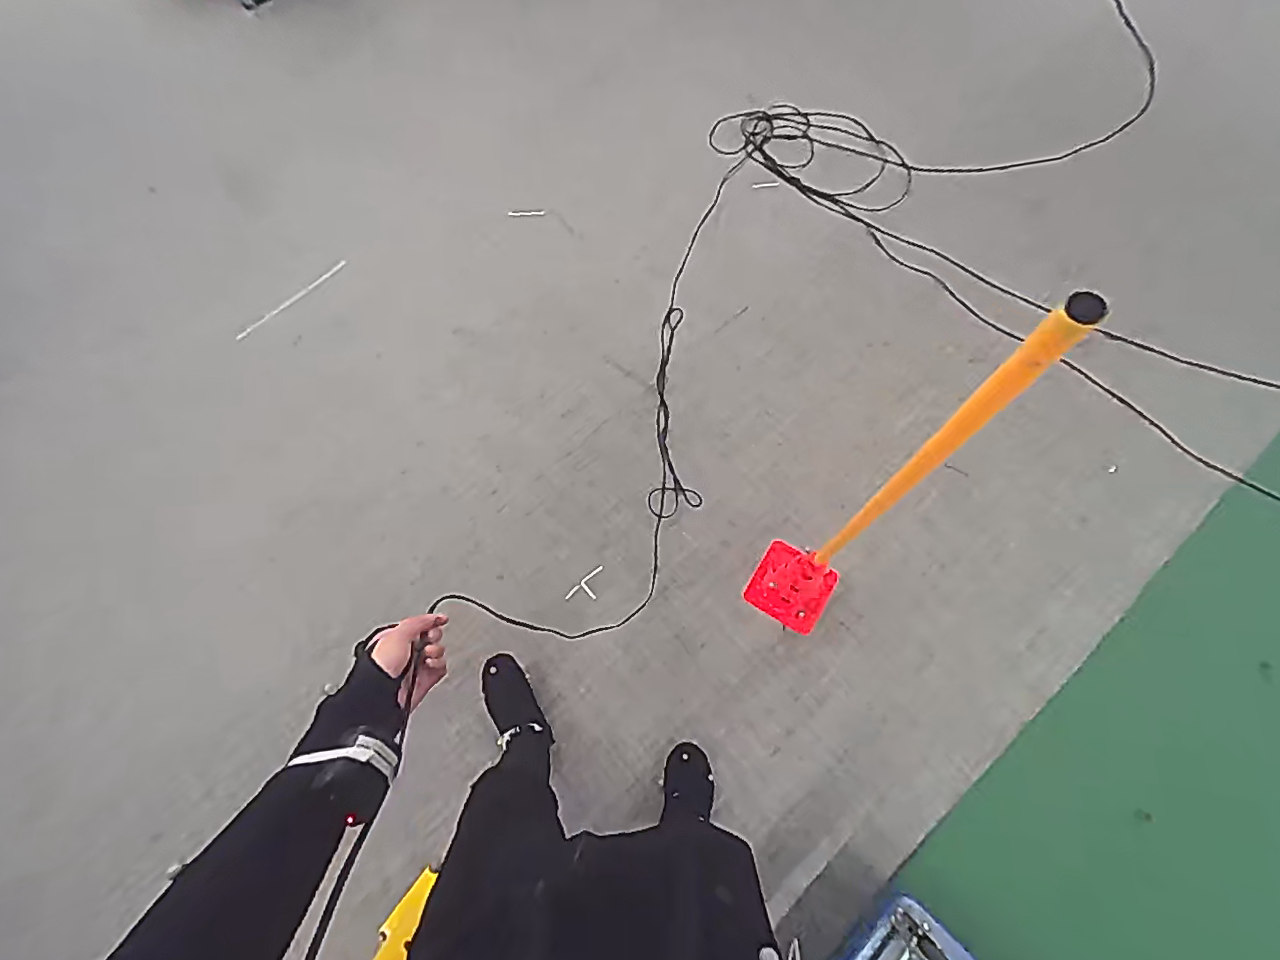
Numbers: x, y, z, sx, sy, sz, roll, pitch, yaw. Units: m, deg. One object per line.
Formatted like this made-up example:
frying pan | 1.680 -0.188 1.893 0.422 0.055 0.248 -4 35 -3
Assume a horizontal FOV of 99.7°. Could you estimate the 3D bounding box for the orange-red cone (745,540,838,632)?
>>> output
orange-red cone | 0.396 0.220 1.293 0.198 0.360 0.199 32 74 14
